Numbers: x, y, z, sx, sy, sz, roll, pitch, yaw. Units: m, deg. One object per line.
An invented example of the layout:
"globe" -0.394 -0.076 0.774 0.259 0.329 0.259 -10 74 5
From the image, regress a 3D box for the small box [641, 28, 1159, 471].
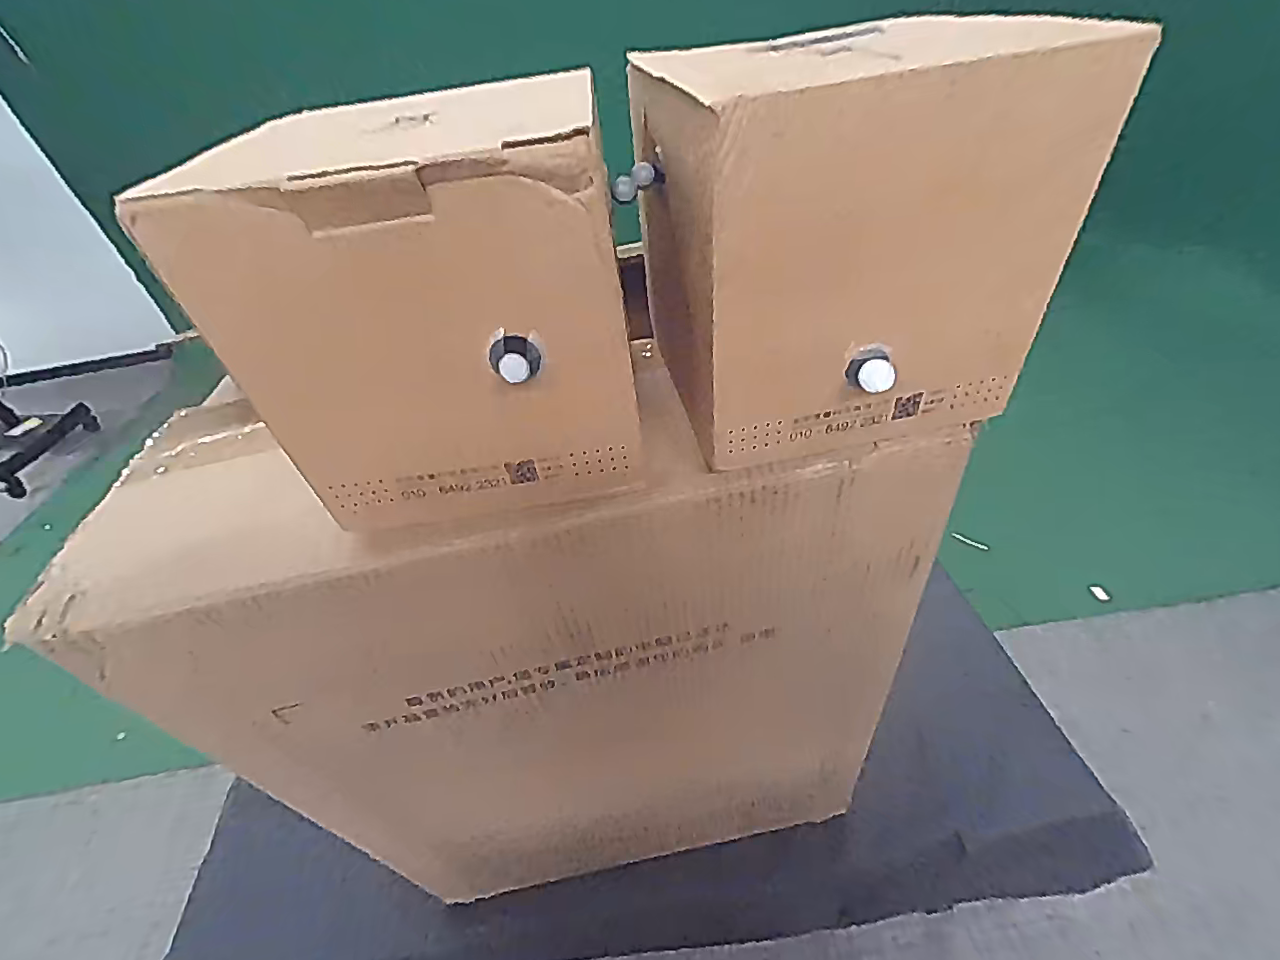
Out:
"small box" 0.099 -0.131 0.302 0.168 0.176 0.179 -11 43 -3
